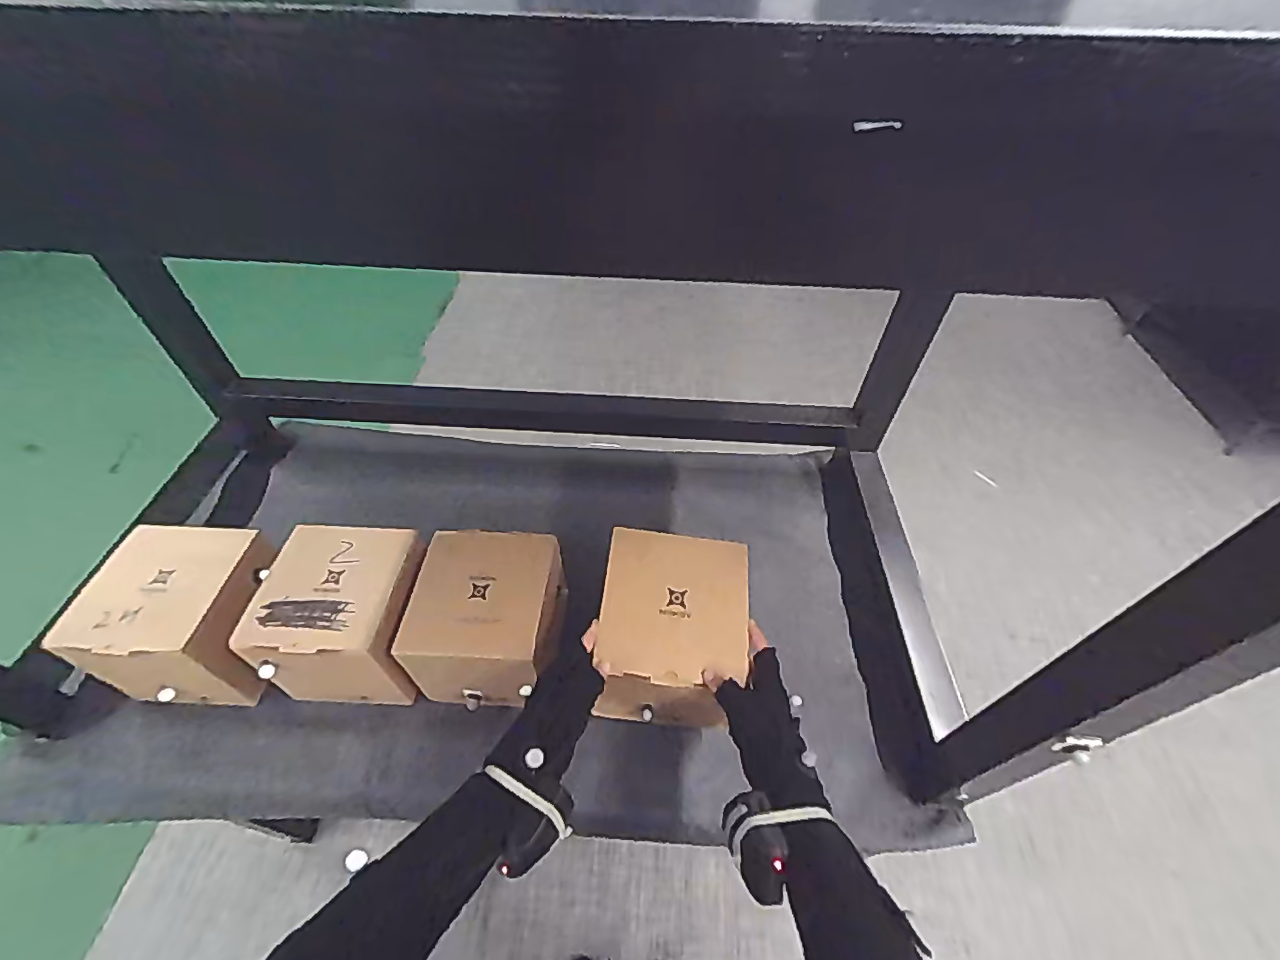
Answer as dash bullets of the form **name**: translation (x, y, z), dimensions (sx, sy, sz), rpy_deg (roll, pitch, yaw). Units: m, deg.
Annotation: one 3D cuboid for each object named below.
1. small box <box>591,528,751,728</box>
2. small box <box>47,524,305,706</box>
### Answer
- **small box**: translation (0.033, 0.185, 0.665), dimensions (0.168, 0.176, 0.179), rpy_deg (8, 53, -1)
- **small box**: translation (-0.588, 0.180, 0.723), dimensions (0.168, 0.176, 0.179), rpy_deg (2, 48, 1)
